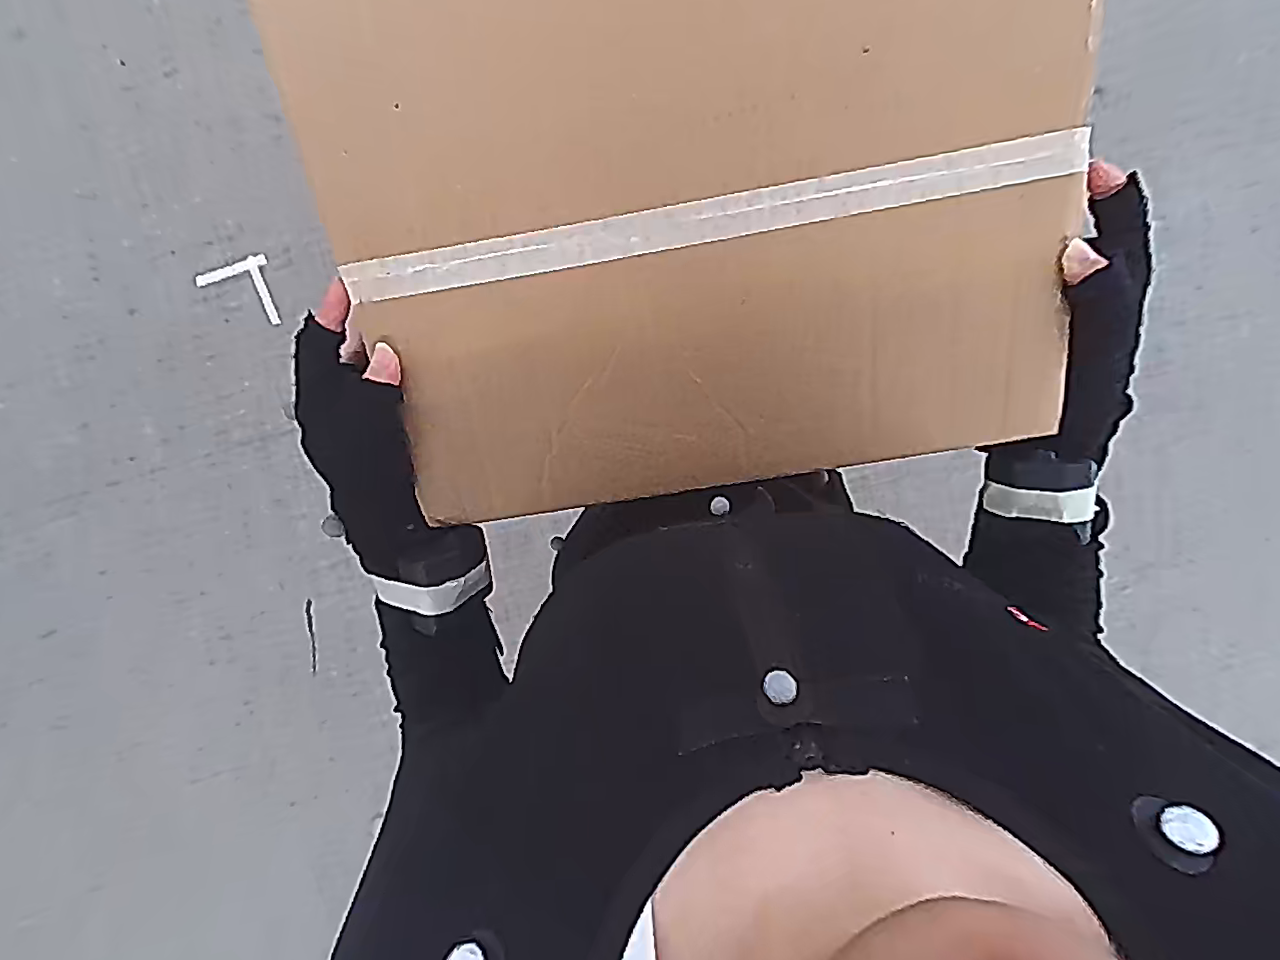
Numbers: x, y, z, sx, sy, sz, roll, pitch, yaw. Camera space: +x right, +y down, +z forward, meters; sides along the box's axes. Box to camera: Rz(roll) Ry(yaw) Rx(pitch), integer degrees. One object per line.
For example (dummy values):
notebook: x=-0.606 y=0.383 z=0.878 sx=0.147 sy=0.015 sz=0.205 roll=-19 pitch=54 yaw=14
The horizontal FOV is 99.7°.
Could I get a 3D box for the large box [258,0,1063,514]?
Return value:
large box: x=0.028 y=-0.203 z=0.445 sx=0.408 sy=0.320 sz=0.320 roll=-9 pitch=110 yaw=3
